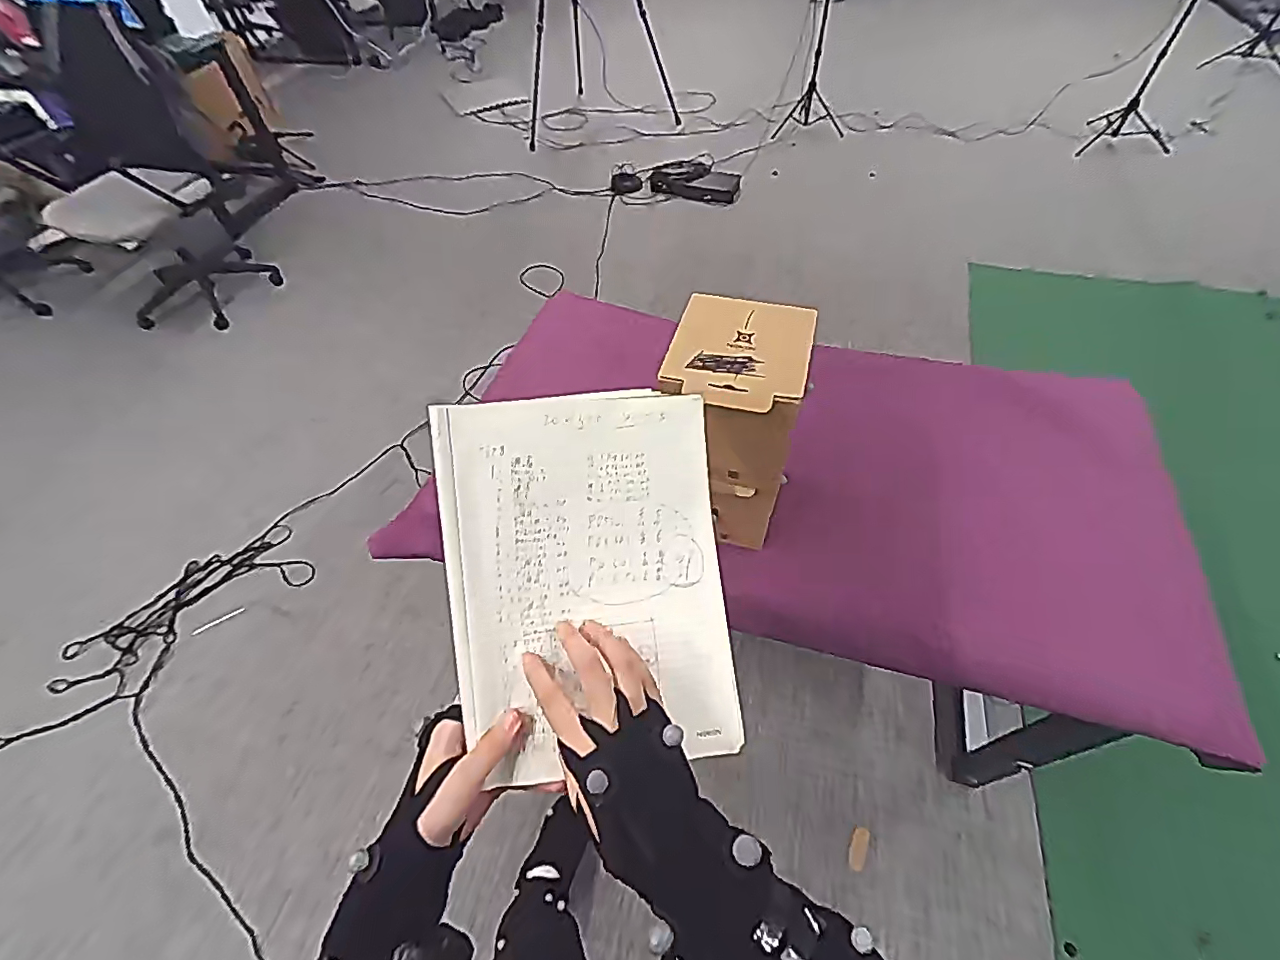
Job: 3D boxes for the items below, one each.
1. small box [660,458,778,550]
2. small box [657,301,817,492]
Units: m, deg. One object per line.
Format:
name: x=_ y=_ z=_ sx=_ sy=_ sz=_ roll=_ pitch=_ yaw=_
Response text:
small box: x=0.136 y=-0.012 z=0.857 sx=0.168 sy=0.176 sz=0.179 roll=13 pitch=55 yaw=12
small box: x=0.127 y=-0.109 z=0.722 sx=0.168 sy=0.176 sz=0.179 roll=13 pitch=53 yaw=12
